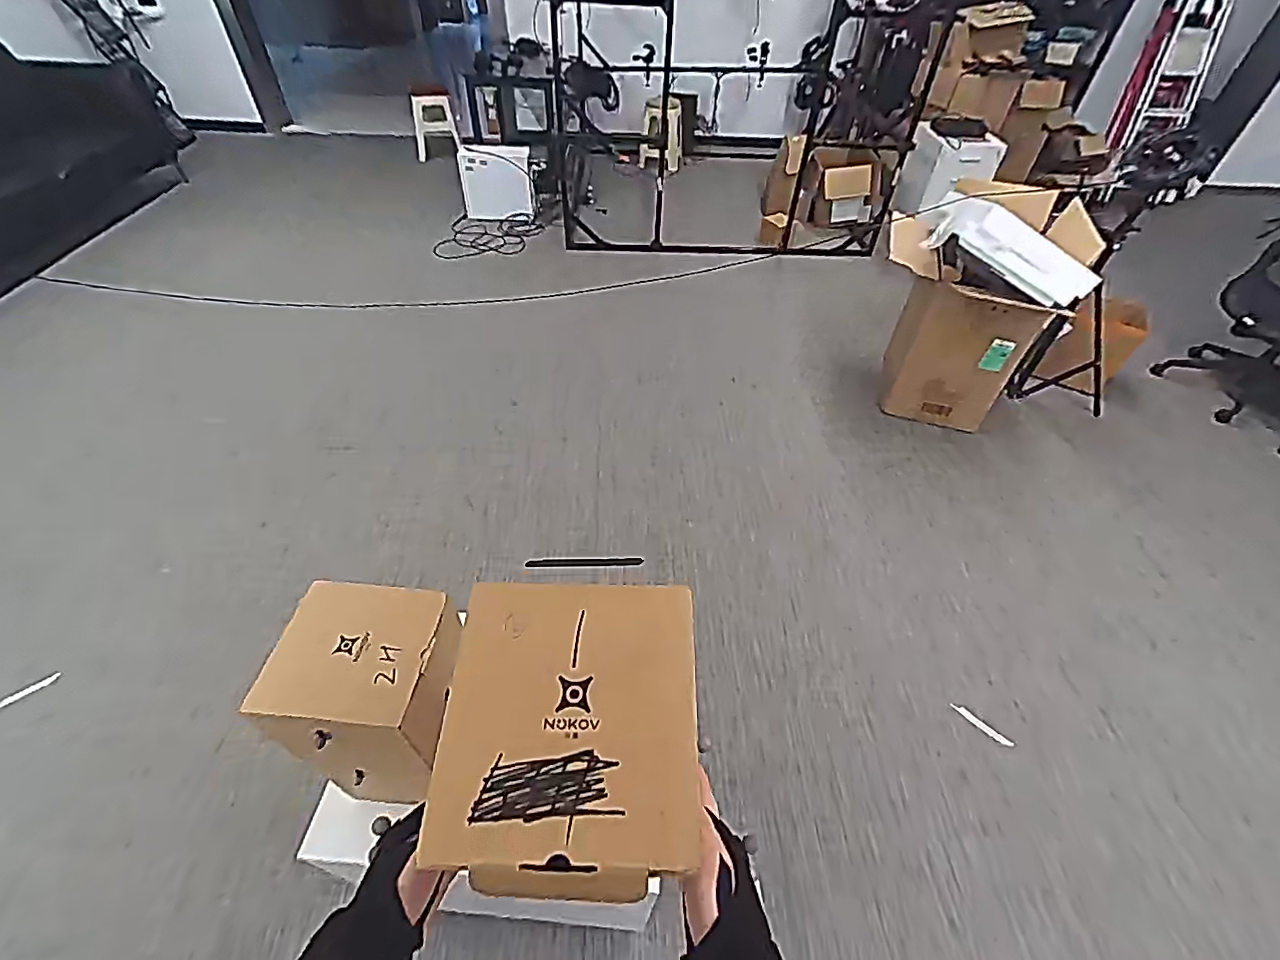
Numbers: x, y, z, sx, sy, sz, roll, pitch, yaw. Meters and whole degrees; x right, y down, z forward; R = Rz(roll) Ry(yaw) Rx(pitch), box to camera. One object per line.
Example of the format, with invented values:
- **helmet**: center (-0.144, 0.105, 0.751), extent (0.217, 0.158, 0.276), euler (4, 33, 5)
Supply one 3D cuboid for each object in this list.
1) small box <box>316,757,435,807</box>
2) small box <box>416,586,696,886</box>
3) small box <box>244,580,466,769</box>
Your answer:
- **small box**: center (-0.334, 0.357, 0.799), extent (0.168, 0.176, 0.179), euler (5, 45, 3)
- **small box**: center (-0.044, 0.197, 0.418), extent (0.168, 0.176, 0.179), euler (1, 55, 1)
- **small box**: center (-0.328, 0.246, 0.678), extent (0.179, 0.176, 0.168), euler (5, 47, 2)
